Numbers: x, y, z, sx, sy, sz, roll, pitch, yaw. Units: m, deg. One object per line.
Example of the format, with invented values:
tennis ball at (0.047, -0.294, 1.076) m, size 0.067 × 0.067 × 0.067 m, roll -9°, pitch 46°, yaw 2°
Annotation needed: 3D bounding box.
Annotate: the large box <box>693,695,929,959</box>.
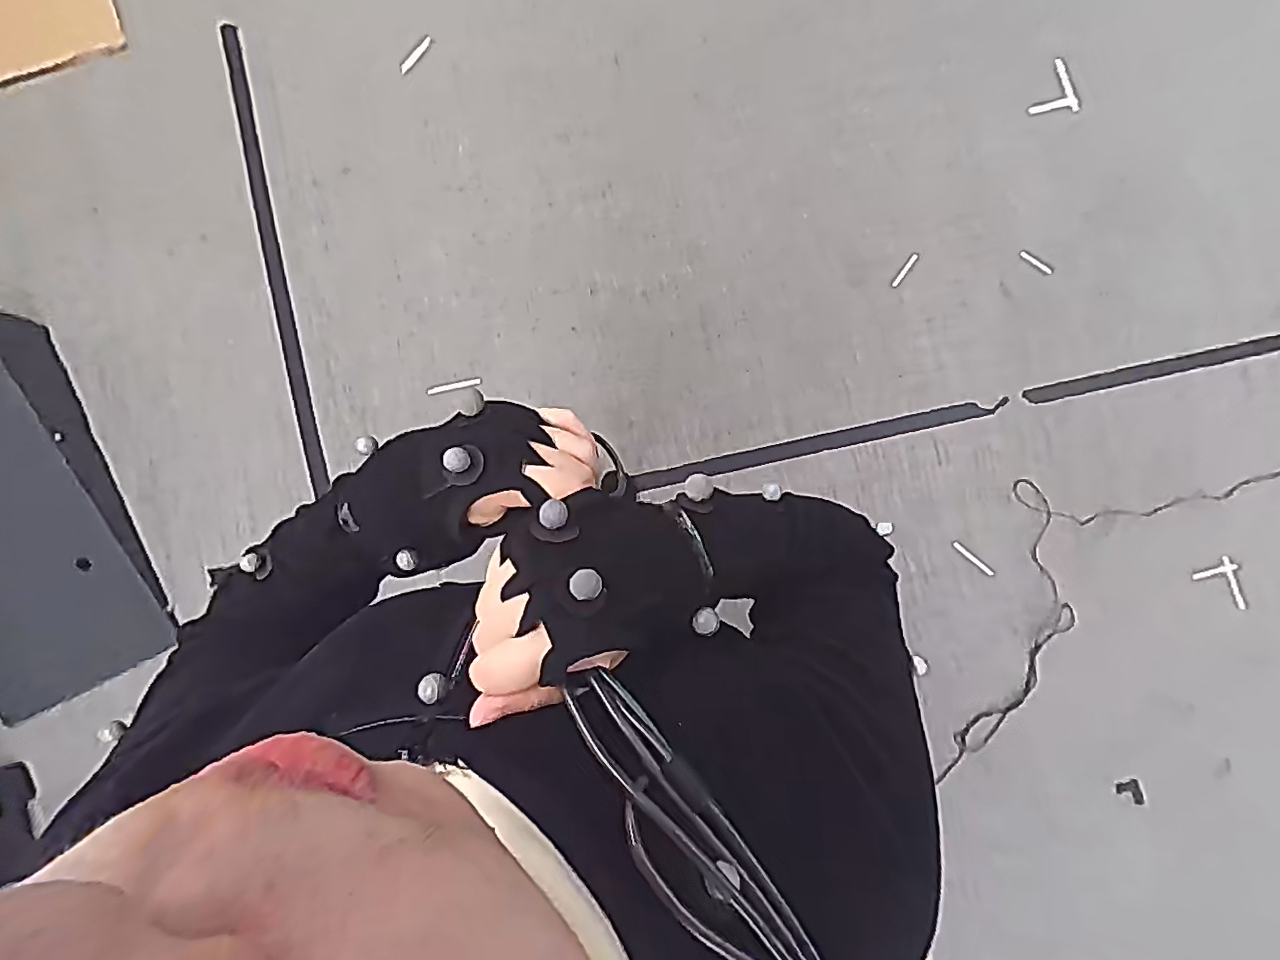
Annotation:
large box at (0.326, 0.735, 1.141) m, size 0.320 × 0.320 × 0.408 m, roll -14°, pitch 87°, yaw -2°
